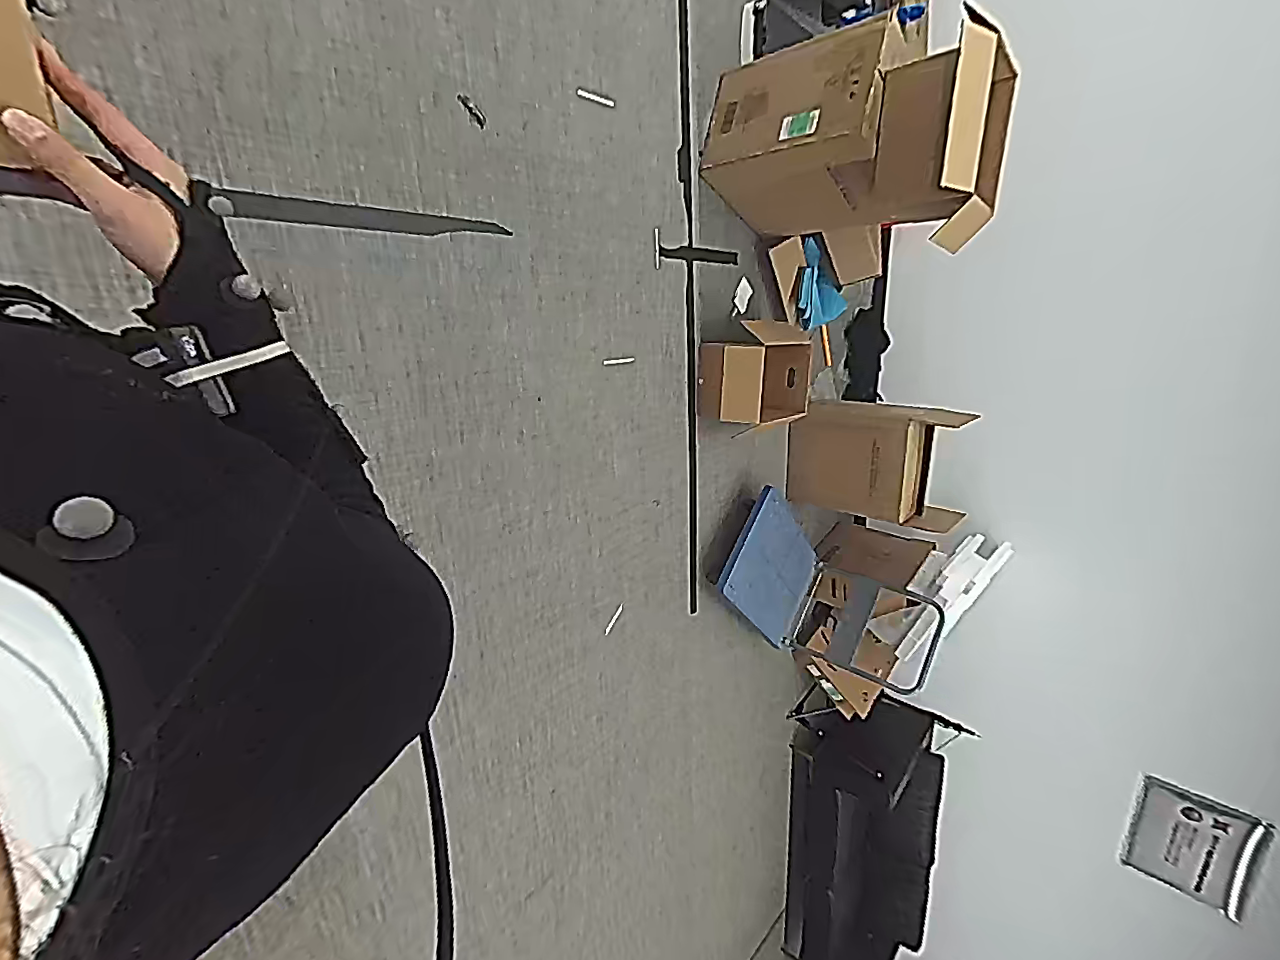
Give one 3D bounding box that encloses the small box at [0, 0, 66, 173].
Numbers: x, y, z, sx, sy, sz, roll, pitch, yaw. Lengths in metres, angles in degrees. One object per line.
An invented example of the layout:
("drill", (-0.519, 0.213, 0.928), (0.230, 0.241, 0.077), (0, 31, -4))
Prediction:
("small box", (-0.421, -0.270, 0.256), (0.179, 0.176, 0.168), (-13, 132, -40))
